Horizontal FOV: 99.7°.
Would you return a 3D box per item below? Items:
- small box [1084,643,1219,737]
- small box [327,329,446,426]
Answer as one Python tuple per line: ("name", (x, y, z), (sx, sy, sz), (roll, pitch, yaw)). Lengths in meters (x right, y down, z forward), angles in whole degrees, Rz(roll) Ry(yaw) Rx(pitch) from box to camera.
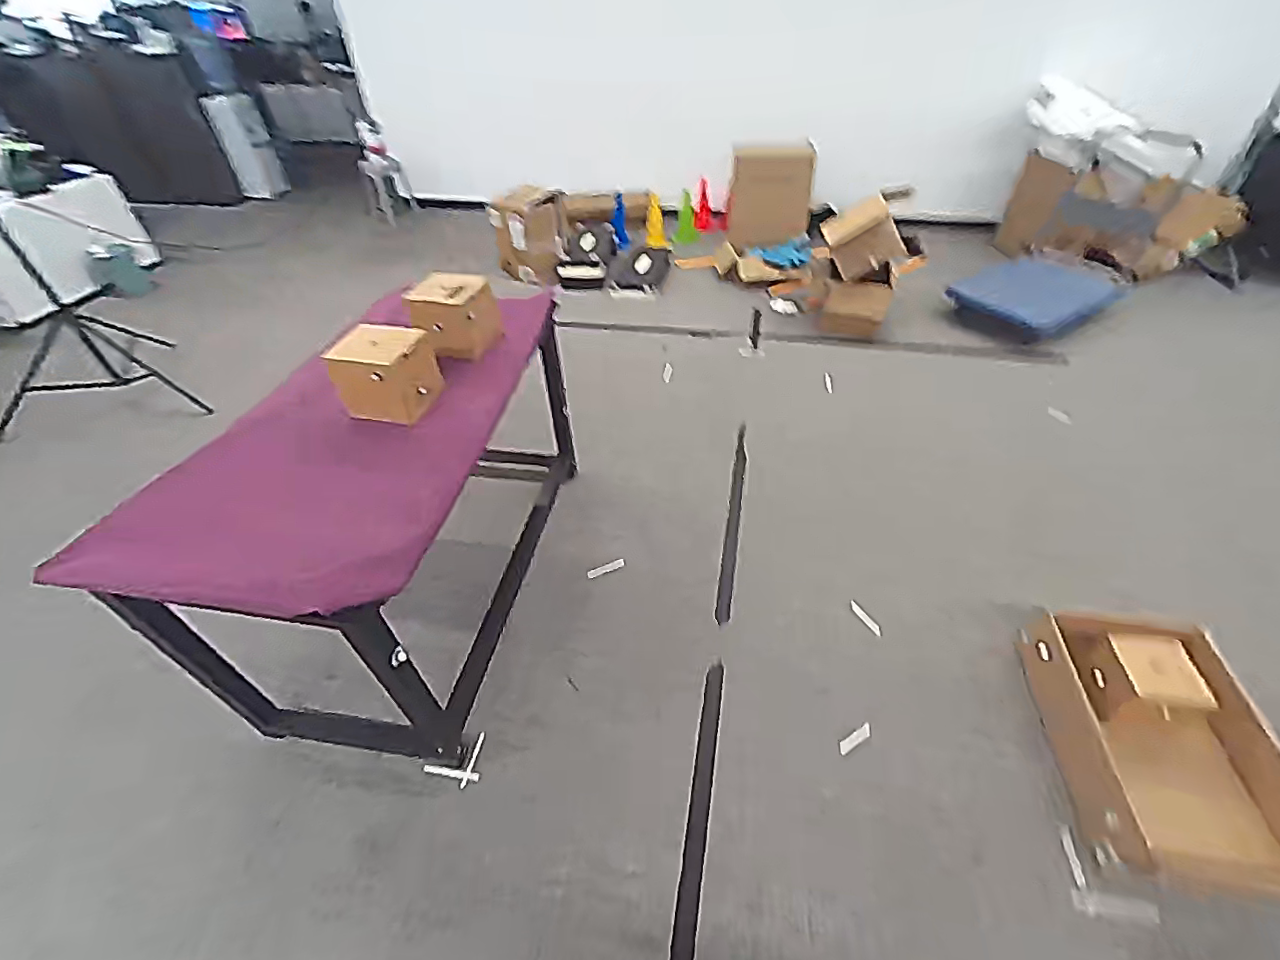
("small box", (1.306, 0.547, 1.404), (0.179, 0.176, 0.168), (5, 44, 7))
("small box", (-0.606, -0.249, 1.316), (0.179, 0.176, 0.168), (8, 44, 10))
